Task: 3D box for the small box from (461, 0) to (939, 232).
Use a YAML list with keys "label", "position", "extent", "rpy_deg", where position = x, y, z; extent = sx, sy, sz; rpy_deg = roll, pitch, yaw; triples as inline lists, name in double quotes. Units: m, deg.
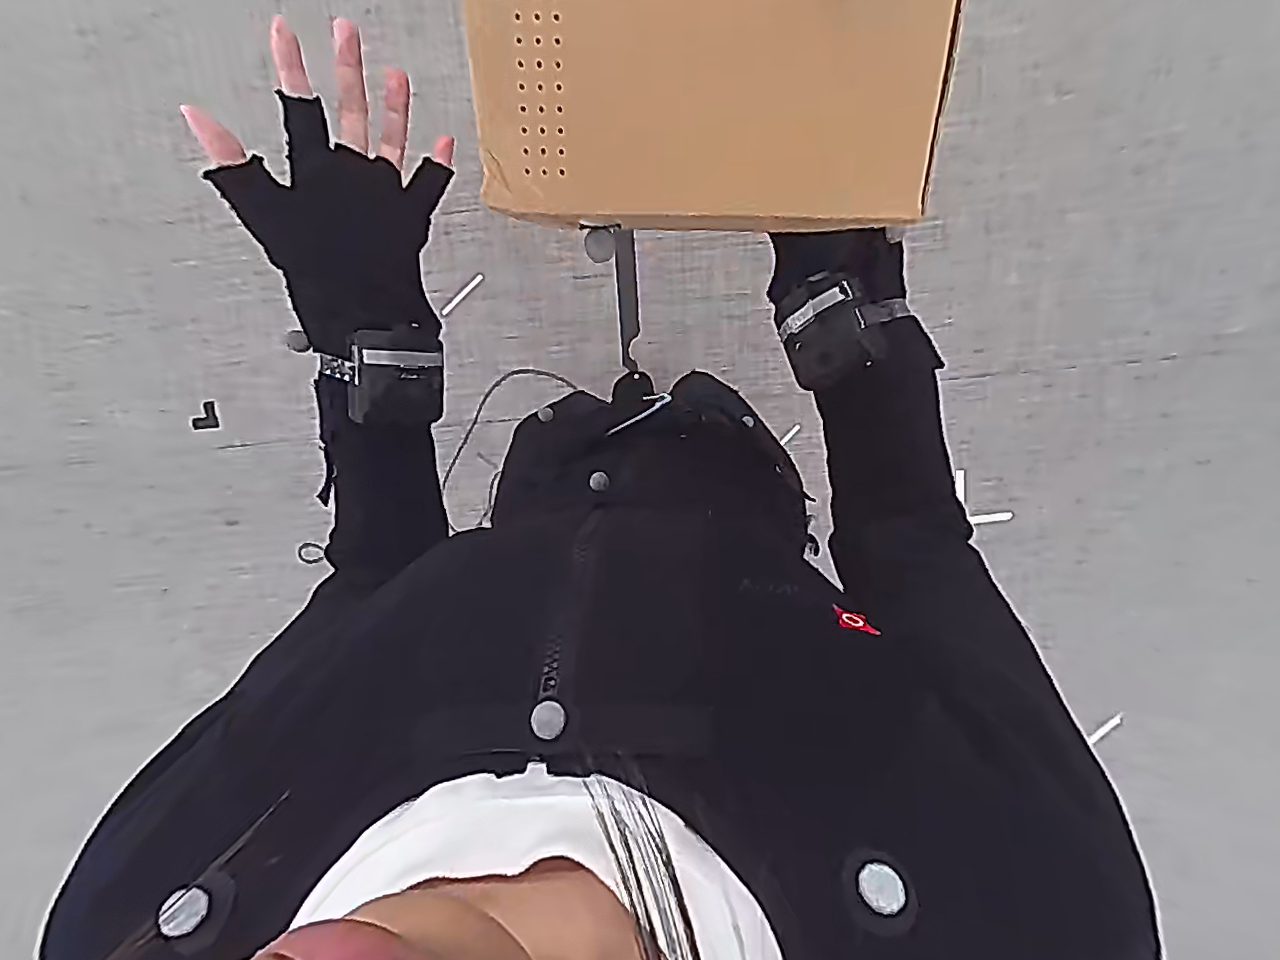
- label: "small box"
  position: [0.019, -0.215, 0.252]
  extent: [0.176, 0.168, 0.179]
  rpy_deg: [1, 113, 2]
